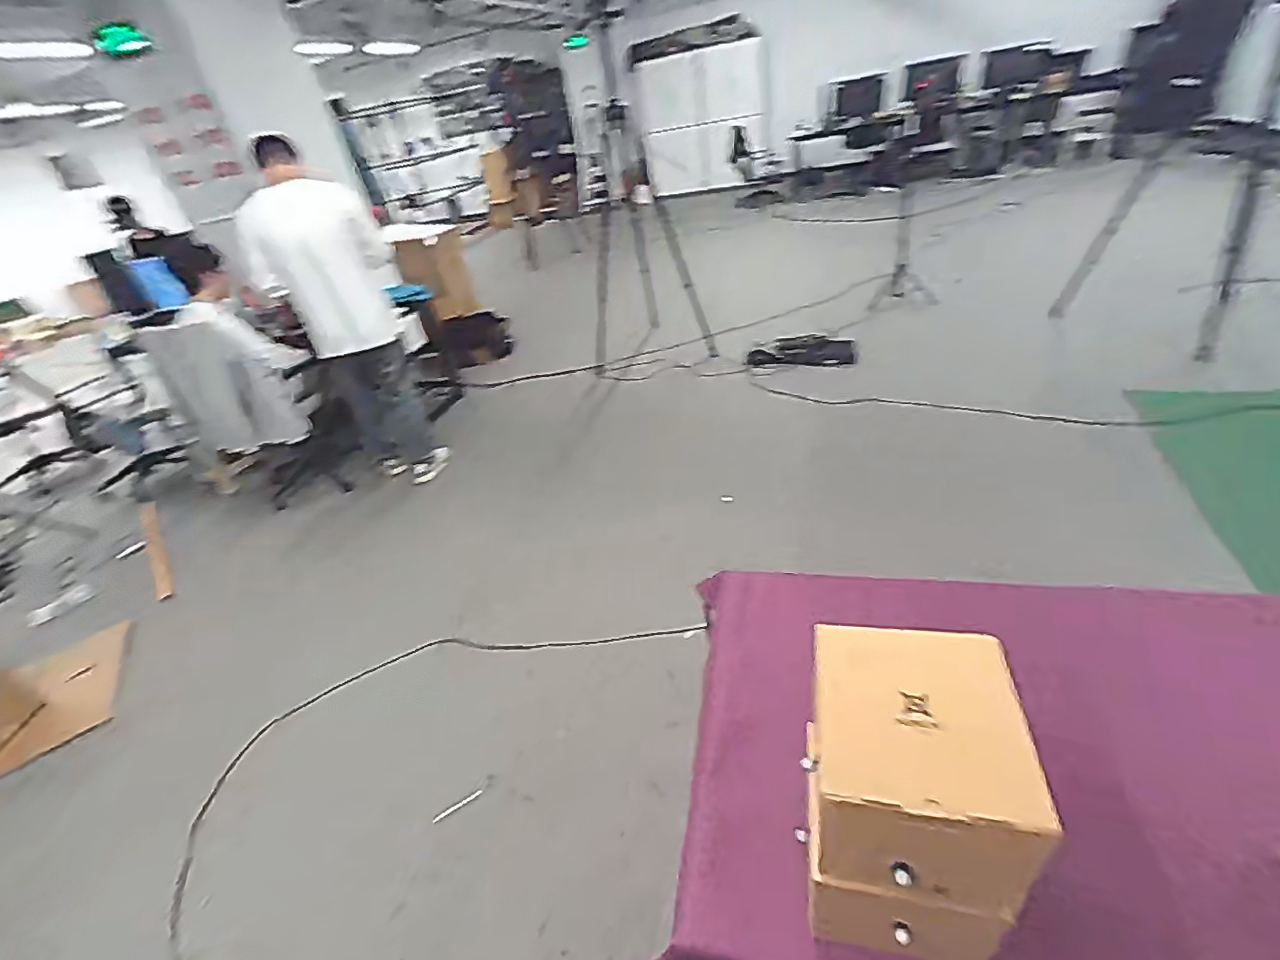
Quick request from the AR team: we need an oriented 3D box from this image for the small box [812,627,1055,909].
[{"bbox_3d":[0.257,0.271,0.526,0.168,0.176,0.179,0,37,16],"label":"small box"}]
